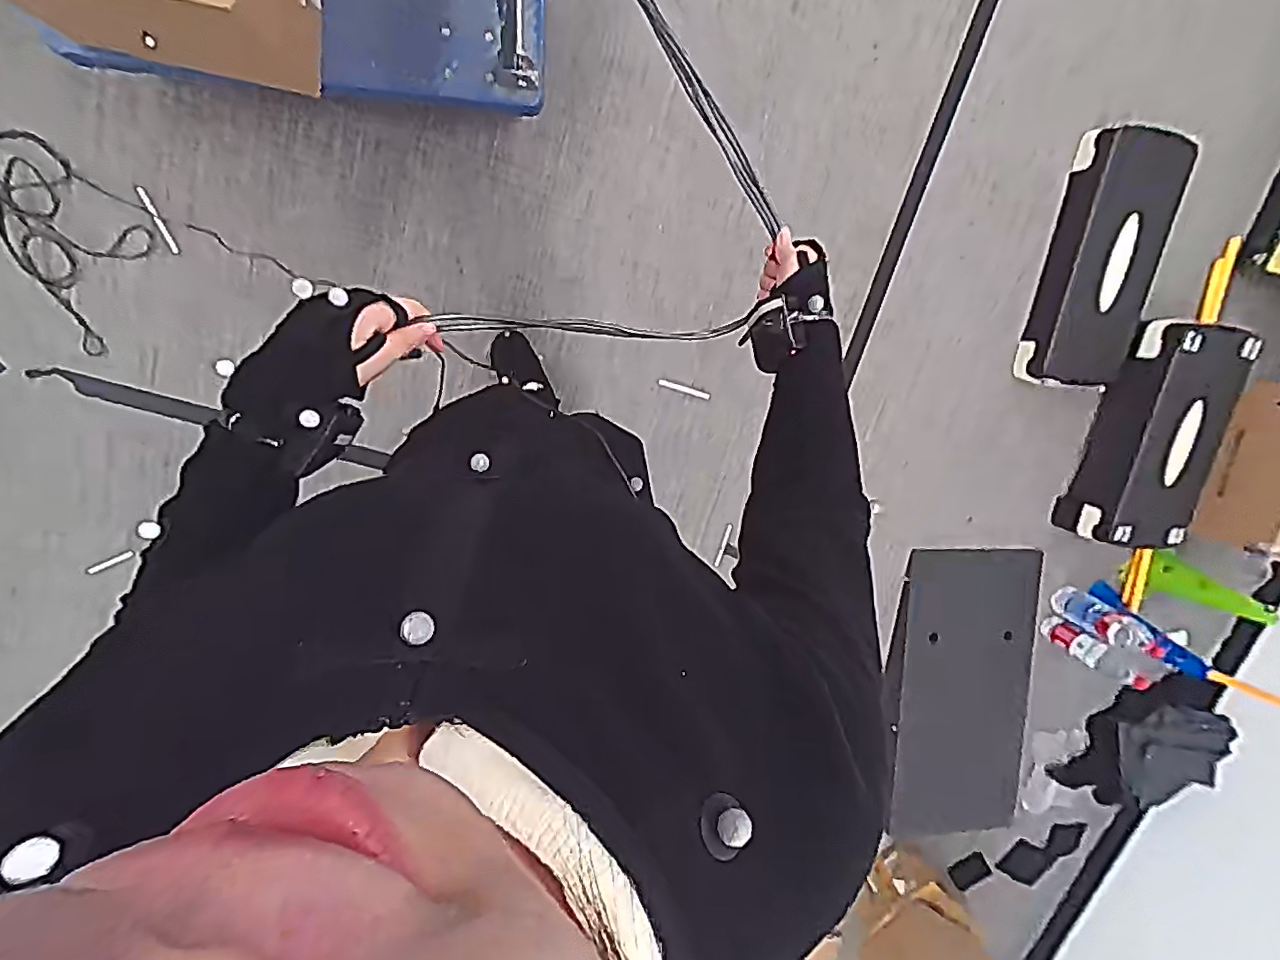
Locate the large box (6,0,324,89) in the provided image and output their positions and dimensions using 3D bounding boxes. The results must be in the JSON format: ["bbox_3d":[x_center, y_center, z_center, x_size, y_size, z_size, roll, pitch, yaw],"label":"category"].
[{"bbox_3d":[-0.750,-0.851,0.808,0.408,0.320,0.320,6,104,-10],"label":"large box"}]
